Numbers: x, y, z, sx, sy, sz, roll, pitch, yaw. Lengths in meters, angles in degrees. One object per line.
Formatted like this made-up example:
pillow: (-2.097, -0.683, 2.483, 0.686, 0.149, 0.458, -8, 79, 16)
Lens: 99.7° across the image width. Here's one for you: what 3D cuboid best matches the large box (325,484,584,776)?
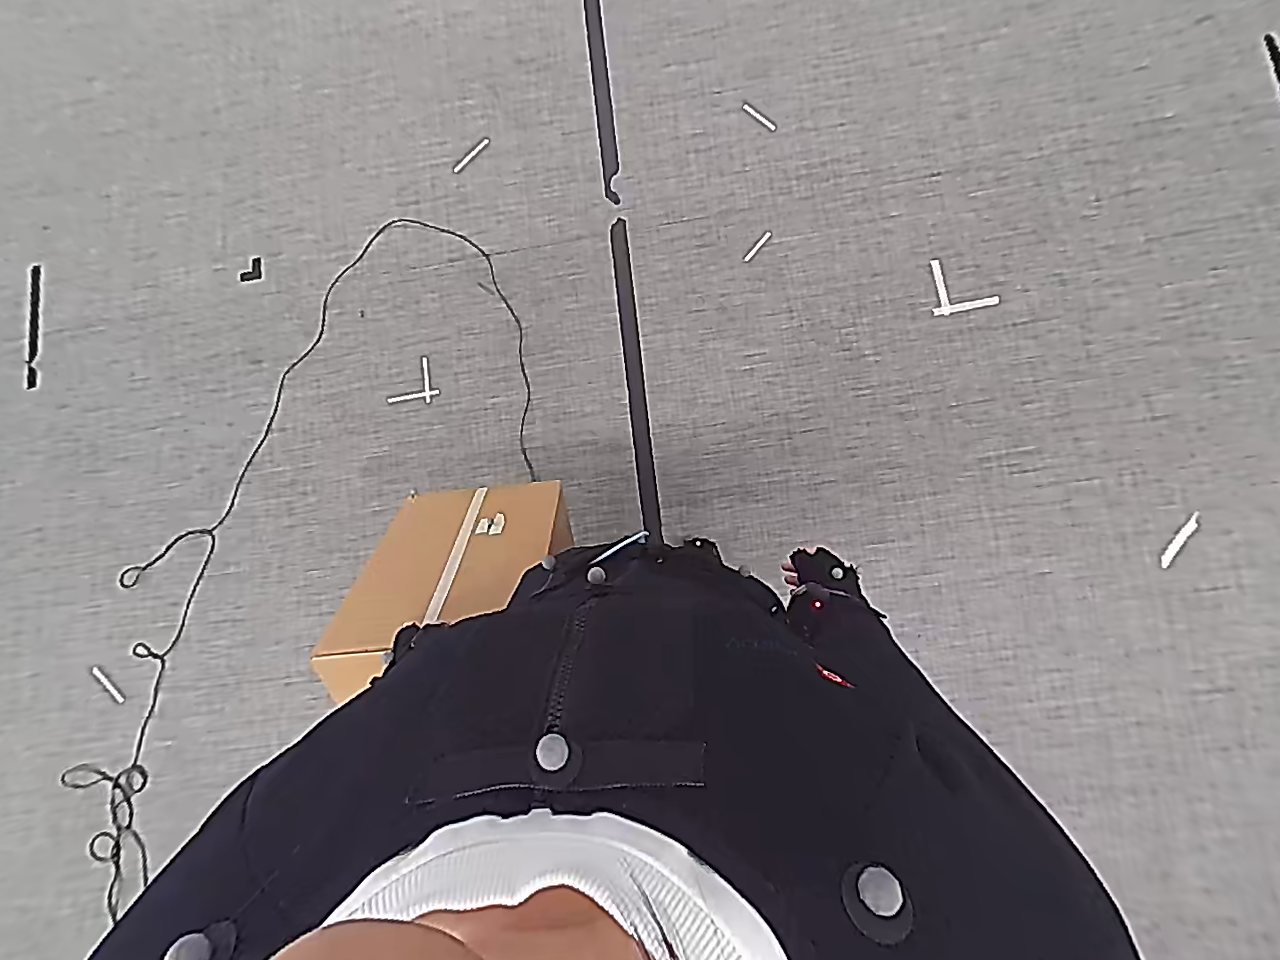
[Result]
large box: (-0.283, 0.253, 0.991, 0.320, 0.408, 0.320, -5, 121, 1)
